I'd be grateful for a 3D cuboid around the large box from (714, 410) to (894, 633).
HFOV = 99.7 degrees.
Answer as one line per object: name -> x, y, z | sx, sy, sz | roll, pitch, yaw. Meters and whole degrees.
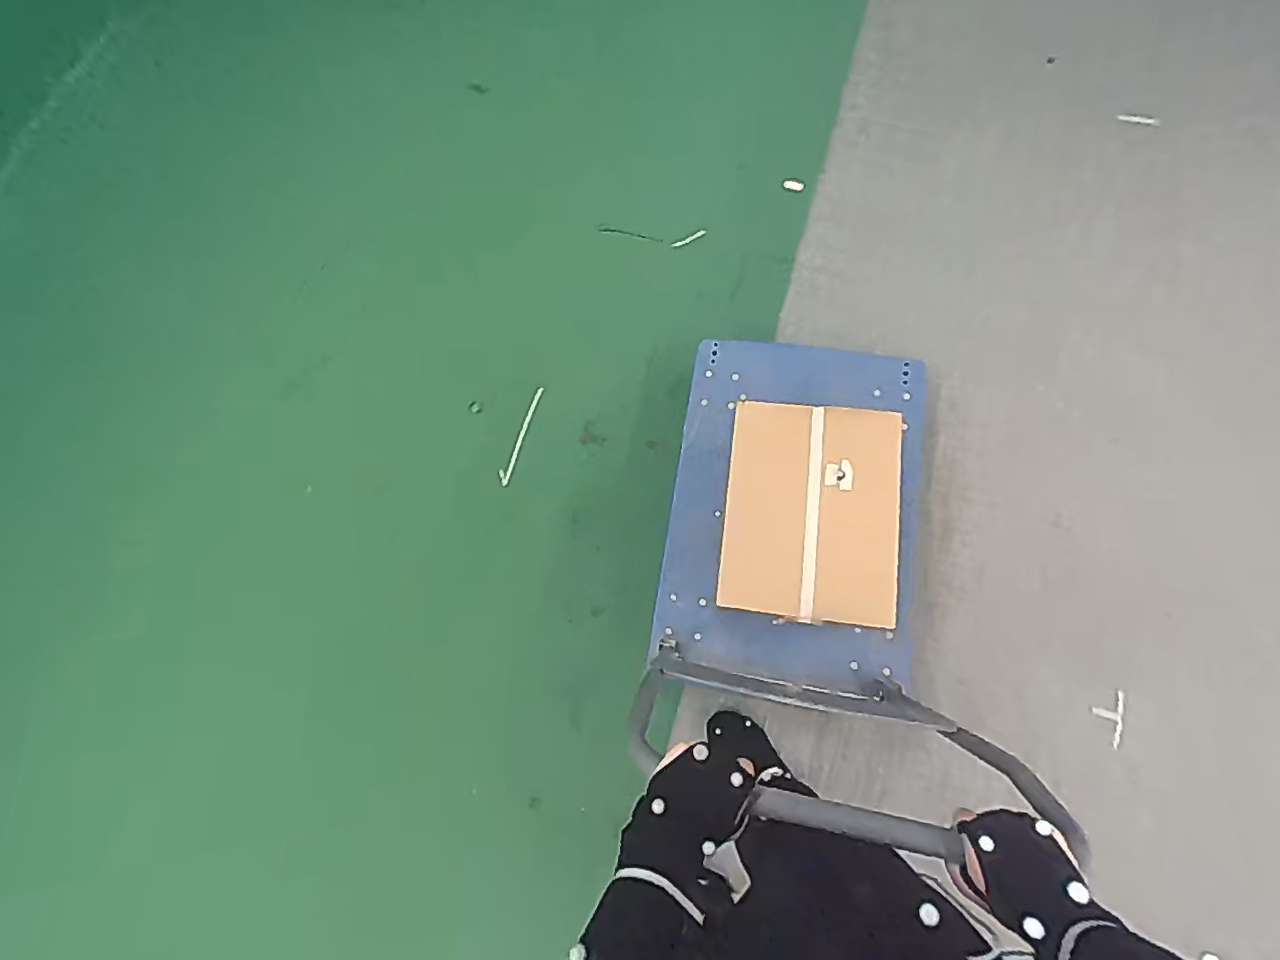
large box -> 0.329, 0.103, 1.154 | 0.320, 0.320, 0.408 | 6, 77, 8
